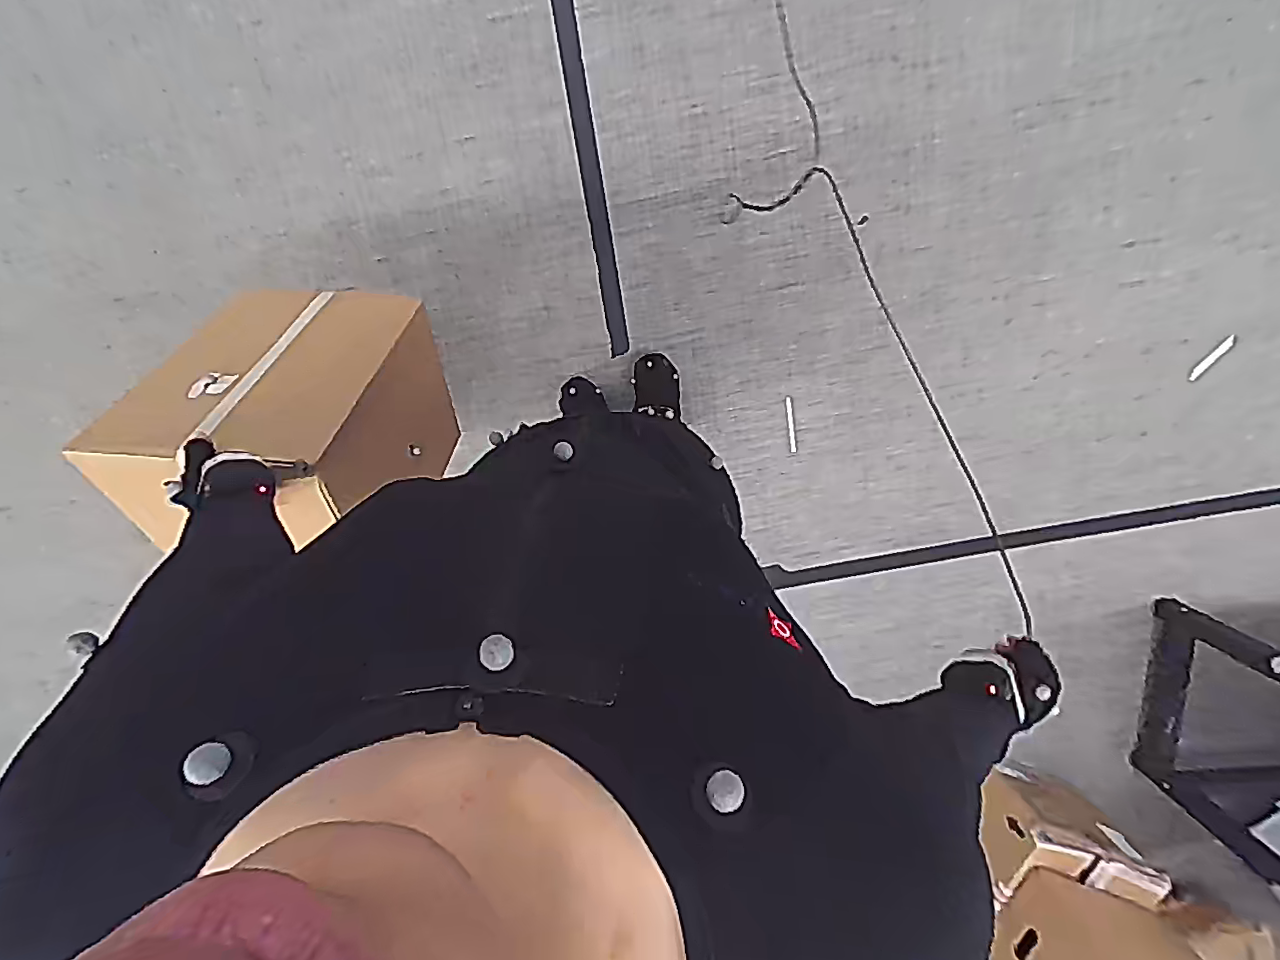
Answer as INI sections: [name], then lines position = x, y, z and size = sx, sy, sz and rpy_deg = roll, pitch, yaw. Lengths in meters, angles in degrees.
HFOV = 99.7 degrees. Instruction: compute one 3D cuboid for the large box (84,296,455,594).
[large box]
position = -0.545, -0.066, 0.917
size = 0.320, 0.408, 0.320
rpy_deg = 3, 137, 1
